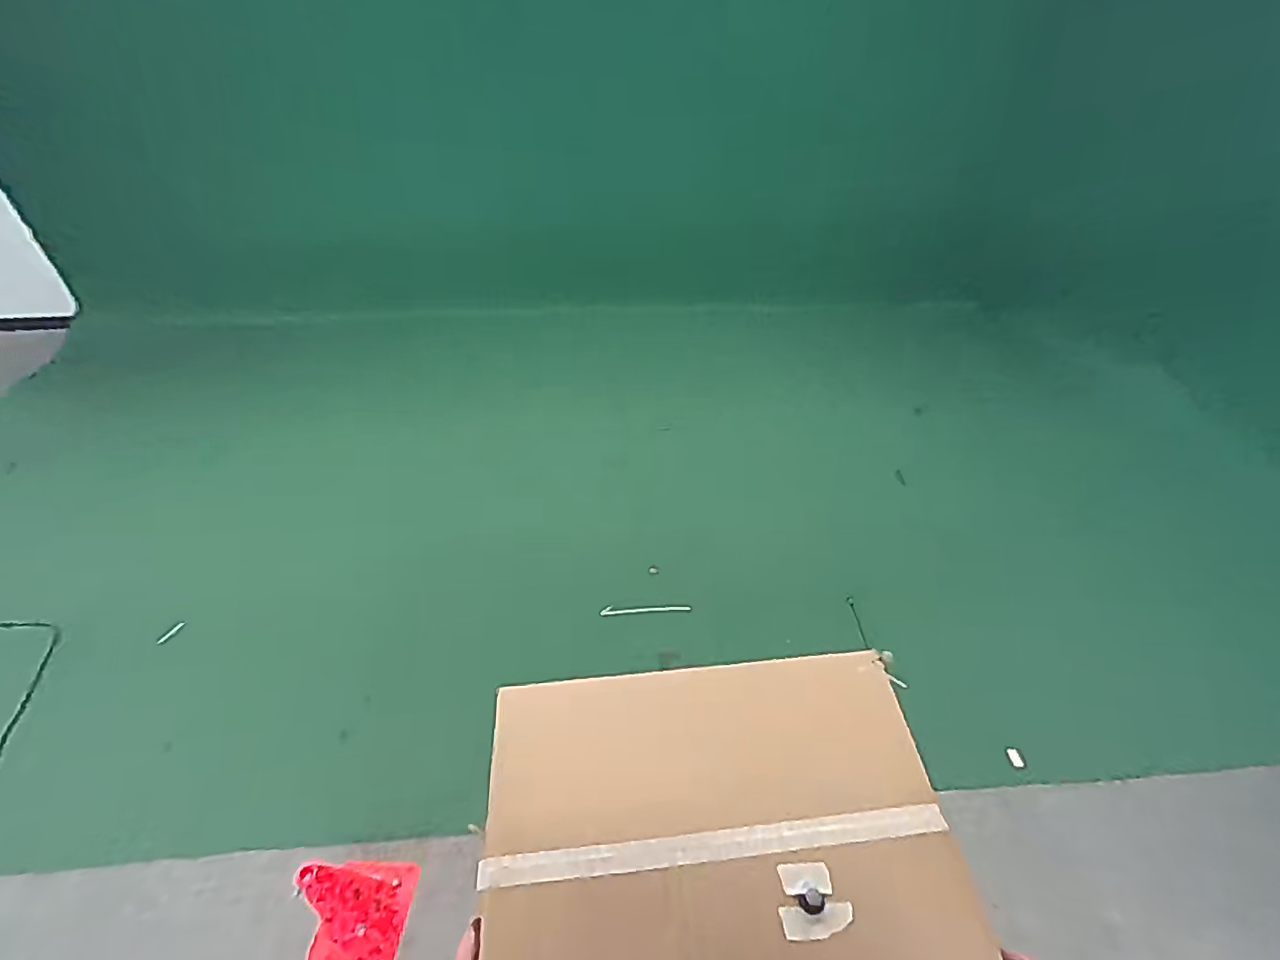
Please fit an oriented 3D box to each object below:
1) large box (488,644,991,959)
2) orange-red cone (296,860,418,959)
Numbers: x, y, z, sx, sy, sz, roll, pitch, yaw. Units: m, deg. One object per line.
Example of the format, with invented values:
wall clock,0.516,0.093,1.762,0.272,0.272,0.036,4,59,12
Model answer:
large box,0.067,0.411,0.597,0.408,0.320,0.320,-5,50,-3
orange-red cone,-0.650,0.896,1.165,0.199,0.360,0.198,1,41,3
